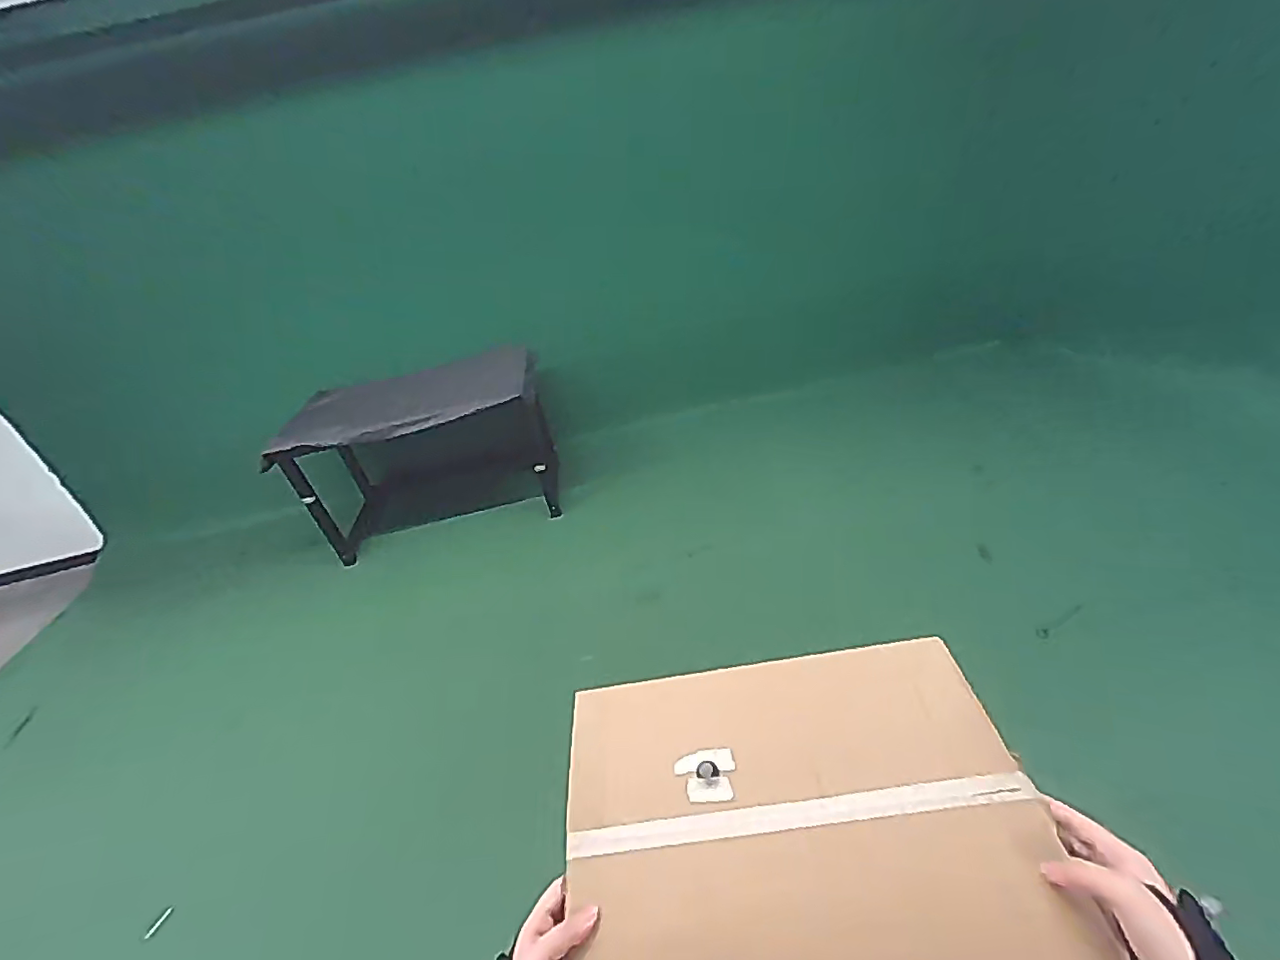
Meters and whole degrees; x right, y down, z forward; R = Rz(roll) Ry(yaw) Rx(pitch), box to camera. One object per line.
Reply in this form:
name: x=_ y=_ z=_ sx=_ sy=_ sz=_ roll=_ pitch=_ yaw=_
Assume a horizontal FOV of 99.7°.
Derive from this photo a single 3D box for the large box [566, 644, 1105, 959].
large box: x=0.163 y=0.424 z=0.574 sx=0.408 sy=0.320 sz=0.320 roll=-12 pitch=37 yaw=6
